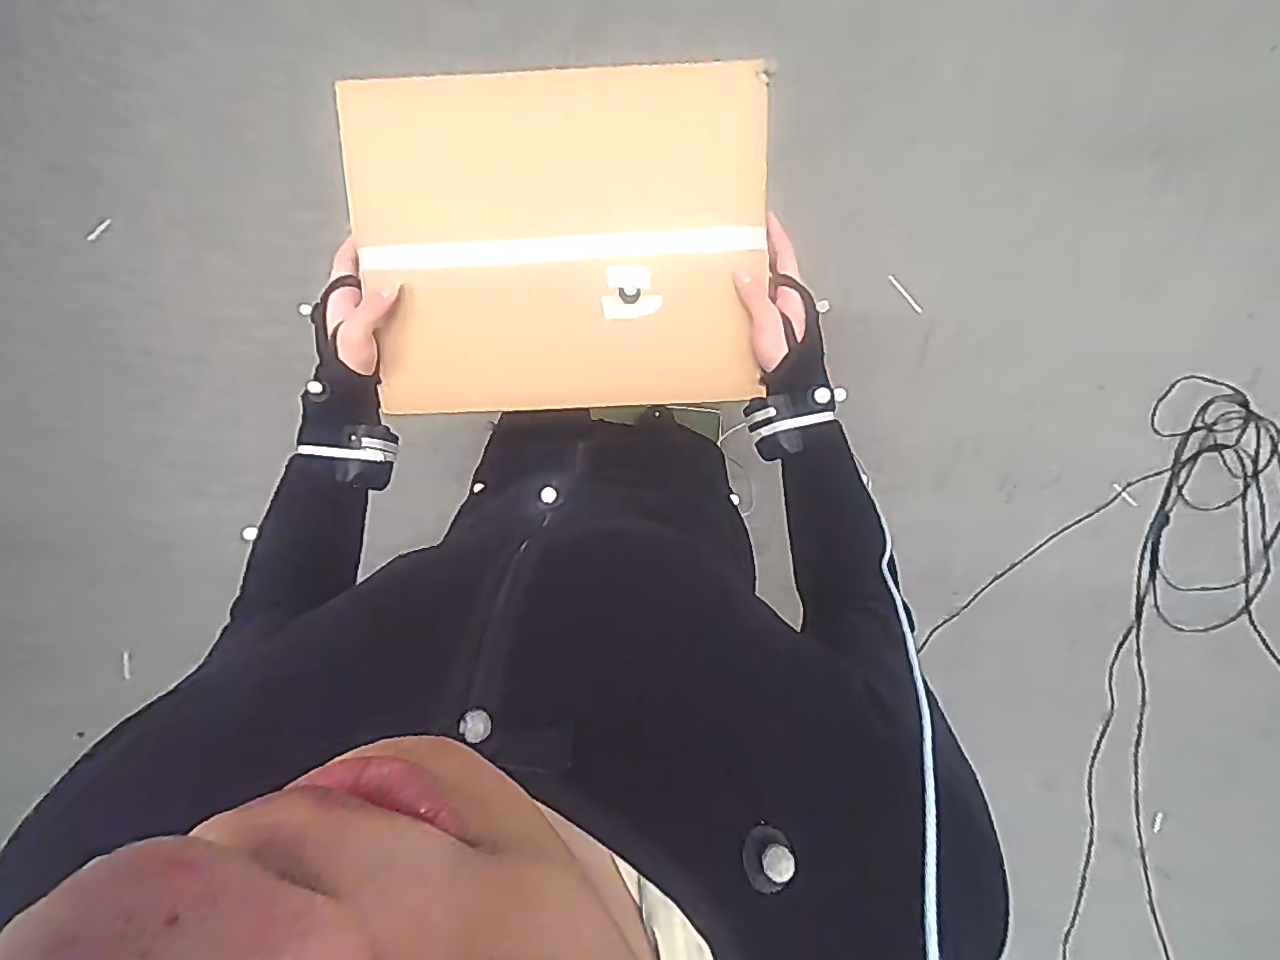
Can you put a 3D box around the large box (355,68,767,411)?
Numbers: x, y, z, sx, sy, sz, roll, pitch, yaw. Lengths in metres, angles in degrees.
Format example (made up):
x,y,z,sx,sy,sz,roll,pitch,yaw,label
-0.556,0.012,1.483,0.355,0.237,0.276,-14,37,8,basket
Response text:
x,y,z,sx,sy,sz,roll,pitch,yaw,label
-0.074,-0.262,0.693,0.408,0.320,0.320,-2,101,0,large box
